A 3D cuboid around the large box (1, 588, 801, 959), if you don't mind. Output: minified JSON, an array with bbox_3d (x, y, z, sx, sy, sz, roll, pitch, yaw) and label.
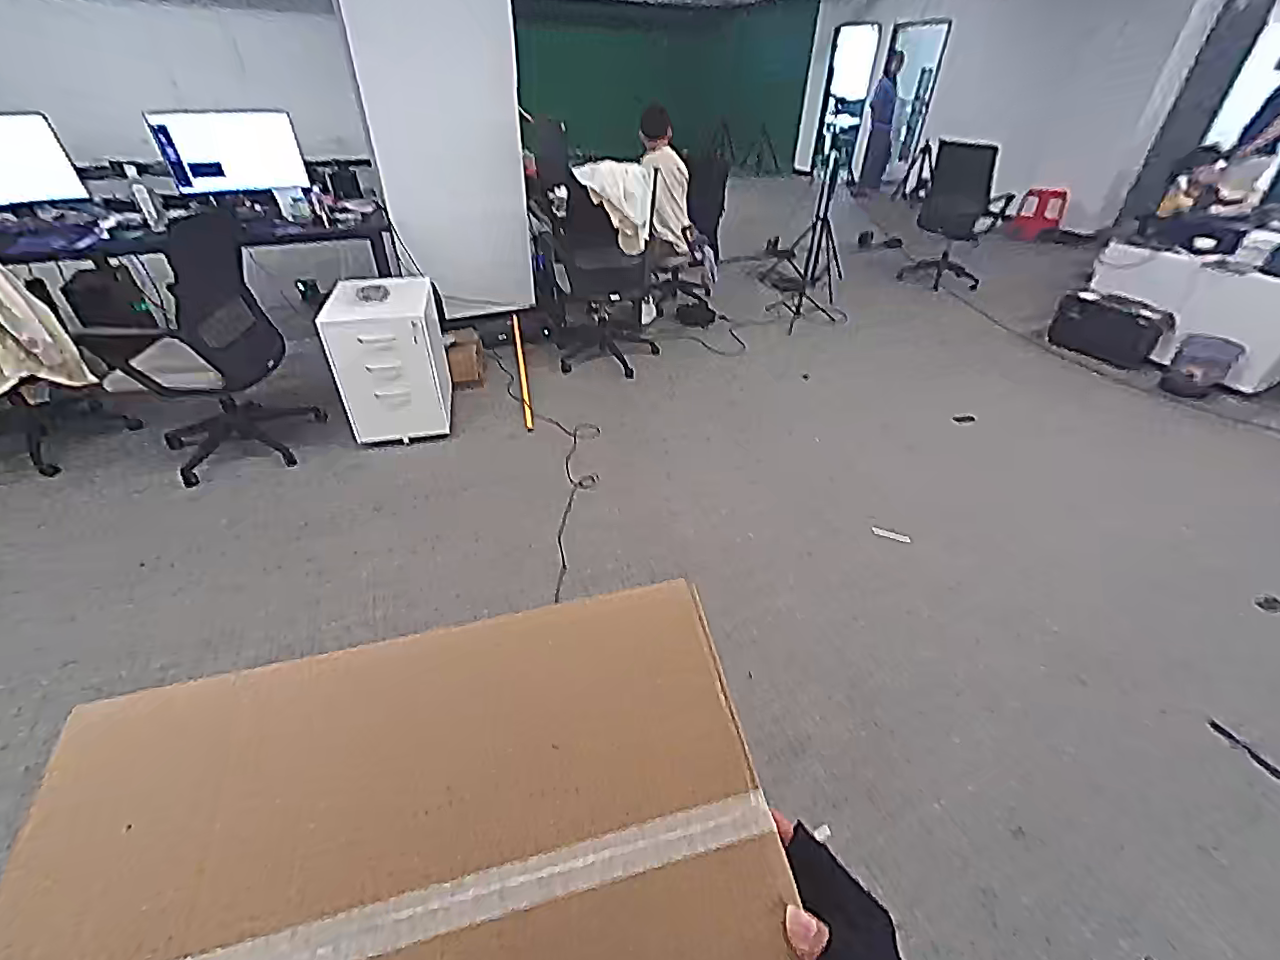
[{"bbox_3d":[-0.128,0.326,0.410,0.408,0.320,0.320,-10,51,-10],"label":"large box"}]
